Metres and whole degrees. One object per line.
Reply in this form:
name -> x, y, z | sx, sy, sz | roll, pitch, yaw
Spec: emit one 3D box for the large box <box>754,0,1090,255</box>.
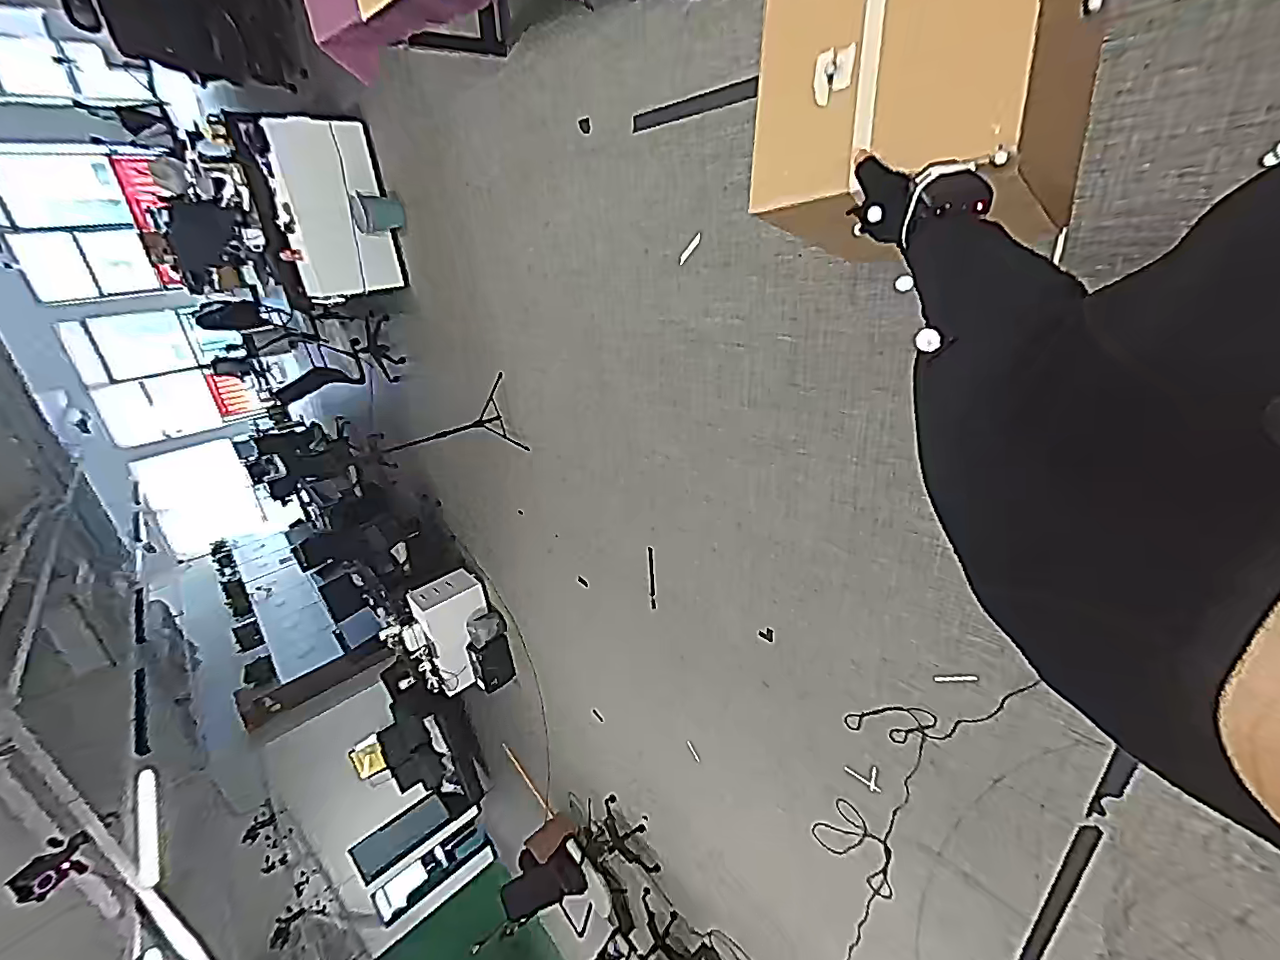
large box -> 0.375, -0.556, 0.716 | 0.320, 0.320, 0.408 | 12, 104, 45
